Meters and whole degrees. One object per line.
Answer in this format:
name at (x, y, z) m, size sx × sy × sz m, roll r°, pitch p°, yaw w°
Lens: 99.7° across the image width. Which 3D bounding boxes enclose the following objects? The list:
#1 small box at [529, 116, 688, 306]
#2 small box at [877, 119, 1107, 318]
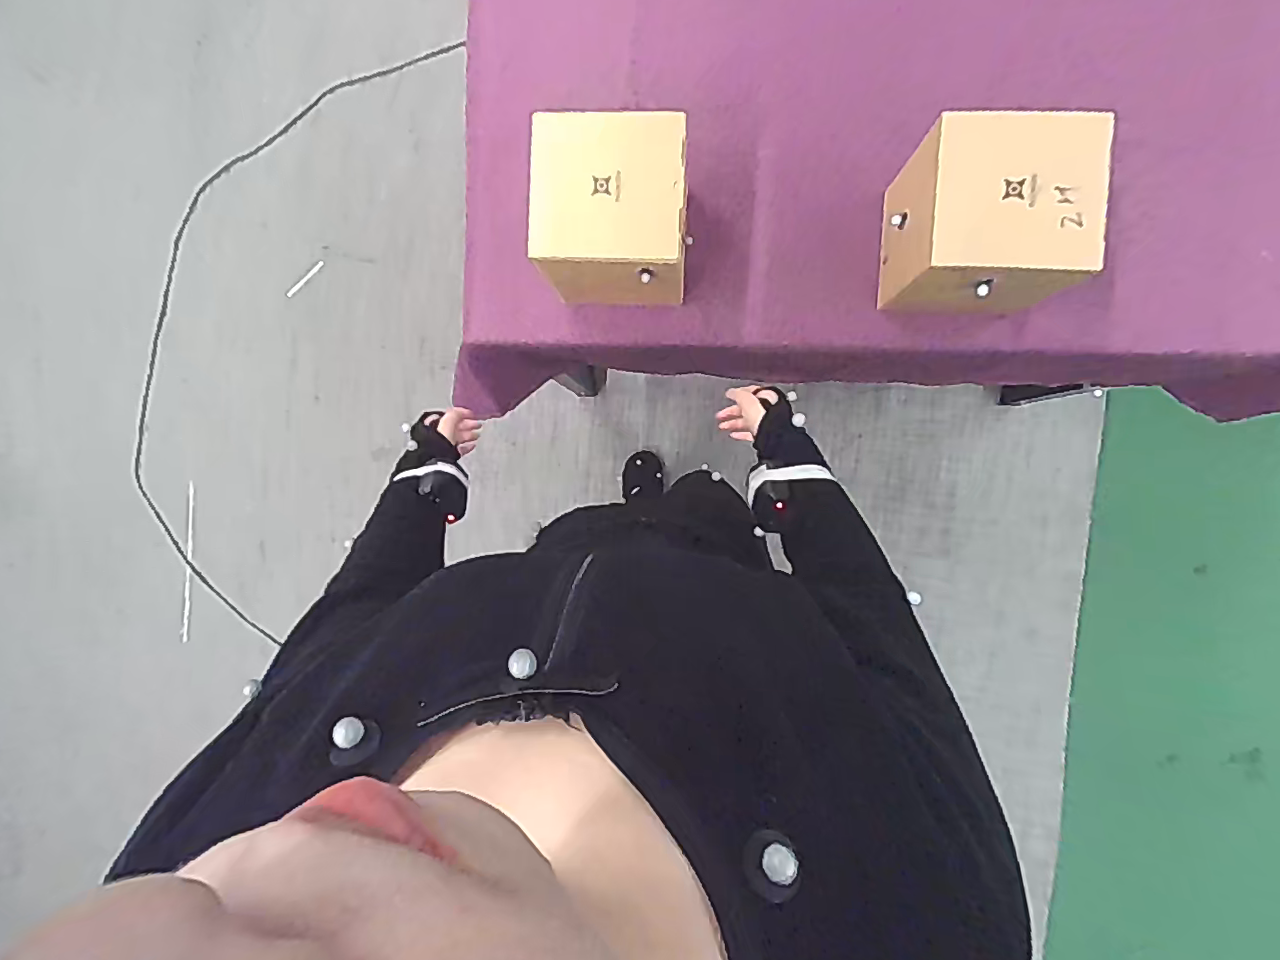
small box at (-0.031, -0.329, 0.691) m, size 0.179 × 0.176 × 0.168 m, roll 2°, pitch 91°, yaw 3°
small box at (0.407, -0.303, 0.658) m, size 0.179 × 0.176 × 0.168 m, roll 4°, pitch 92°, yaw 4°
